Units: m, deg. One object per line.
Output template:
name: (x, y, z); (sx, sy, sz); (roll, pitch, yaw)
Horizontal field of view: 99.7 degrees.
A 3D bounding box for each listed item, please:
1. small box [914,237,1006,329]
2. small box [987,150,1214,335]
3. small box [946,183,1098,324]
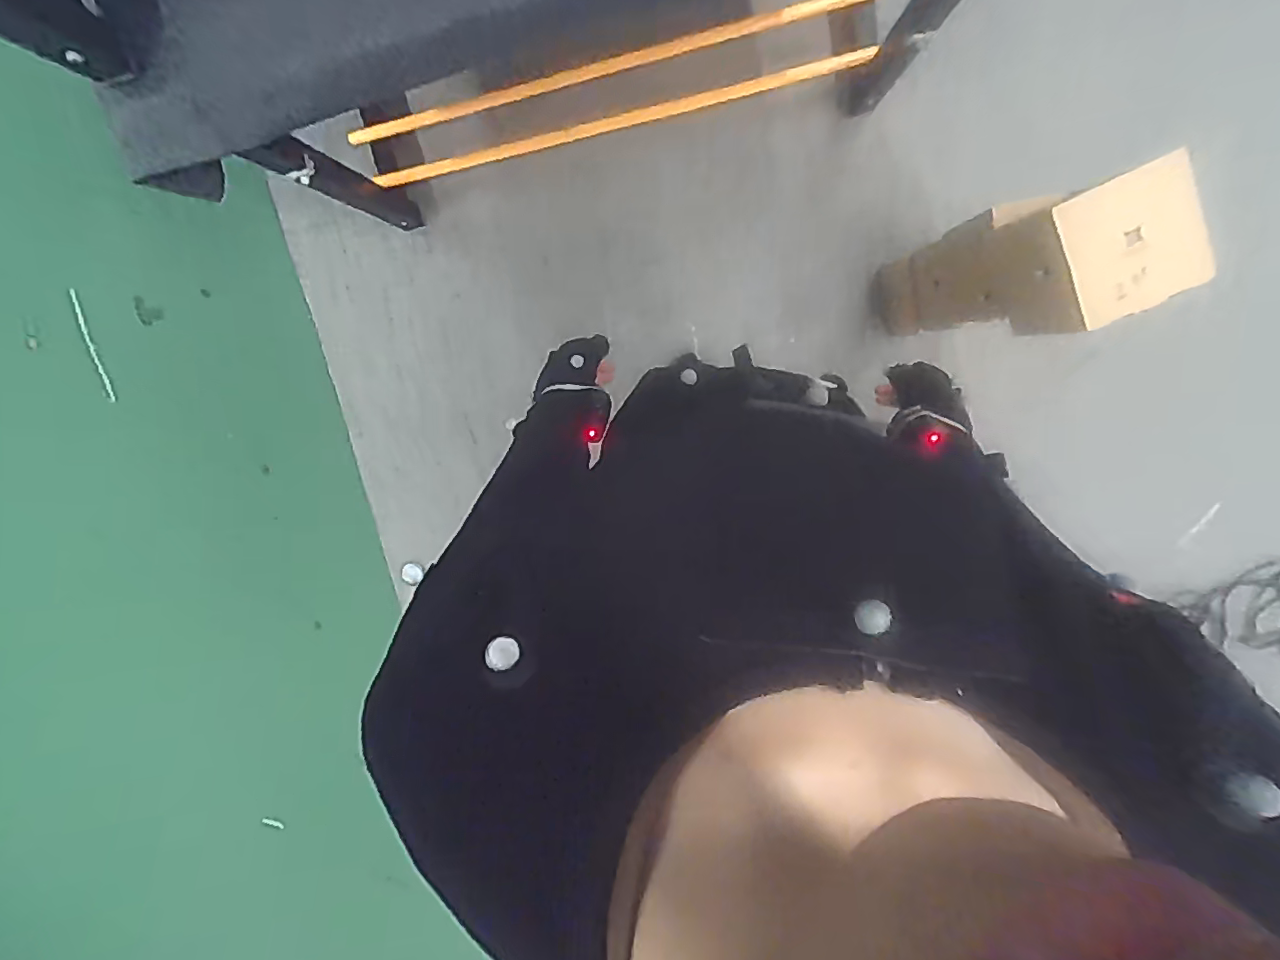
small box: (0.677, -0.407, 1.087); (0.168, 0.176, 0.179); (-13, 100, 7)
small box: (0.640, -0.321, 0.774); (0.168, 0.176, 0.179); (-23, 100, 10)
small box: (0.650, -0.376, 0.929); (0.168, 0.176, 0.179); (-11, 102, 7)
